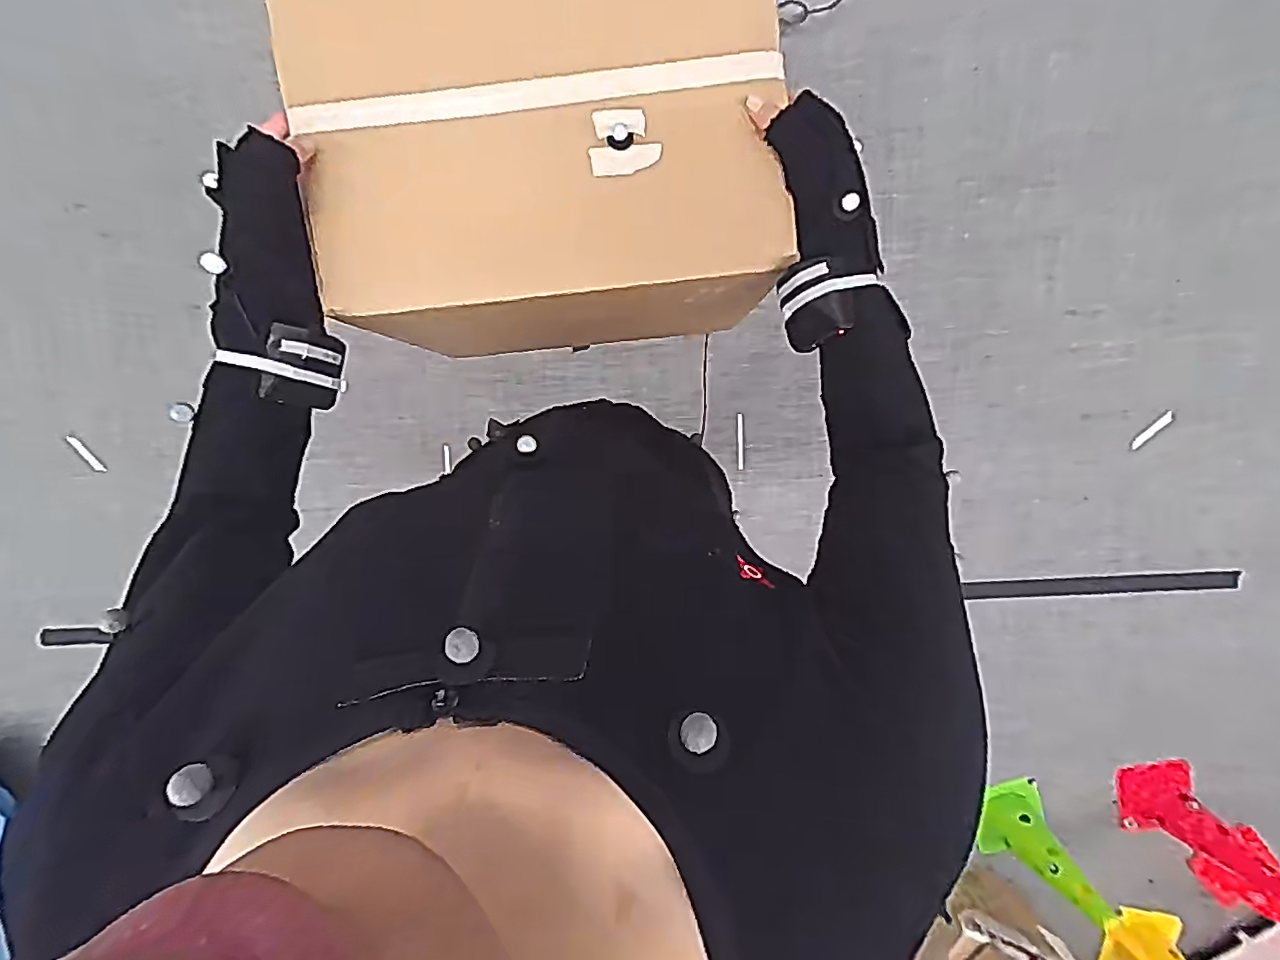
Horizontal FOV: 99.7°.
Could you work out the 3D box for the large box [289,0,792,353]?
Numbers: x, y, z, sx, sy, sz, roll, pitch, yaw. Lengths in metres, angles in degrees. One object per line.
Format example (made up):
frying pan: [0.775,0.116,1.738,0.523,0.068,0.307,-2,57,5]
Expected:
large box: [-0.084,-0.337,0.599,0.408,0.320,0.320,-6,96,0]
